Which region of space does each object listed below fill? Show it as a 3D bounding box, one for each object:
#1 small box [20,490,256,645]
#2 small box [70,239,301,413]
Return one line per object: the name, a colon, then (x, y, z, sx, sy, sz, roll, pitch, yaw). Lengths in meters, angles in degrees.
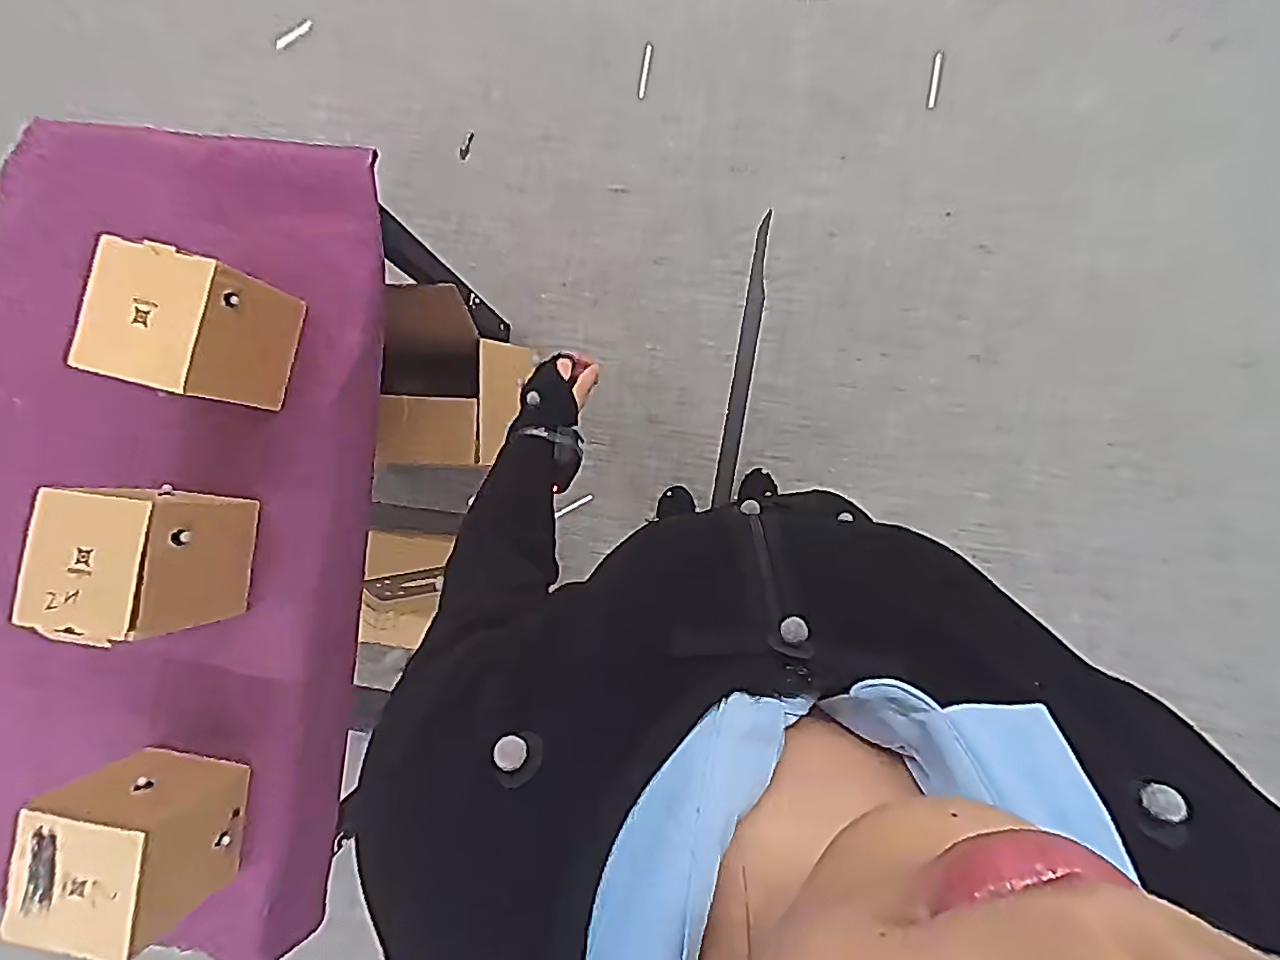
small box: (-0.678, 0.111, 0.752, 0.168, 0.176, 0.179, 6, 89, 7)
small box: (-0.617, -0.202, 0.758, 0.168, 0.176, 0.179, 14, 89, 5)
